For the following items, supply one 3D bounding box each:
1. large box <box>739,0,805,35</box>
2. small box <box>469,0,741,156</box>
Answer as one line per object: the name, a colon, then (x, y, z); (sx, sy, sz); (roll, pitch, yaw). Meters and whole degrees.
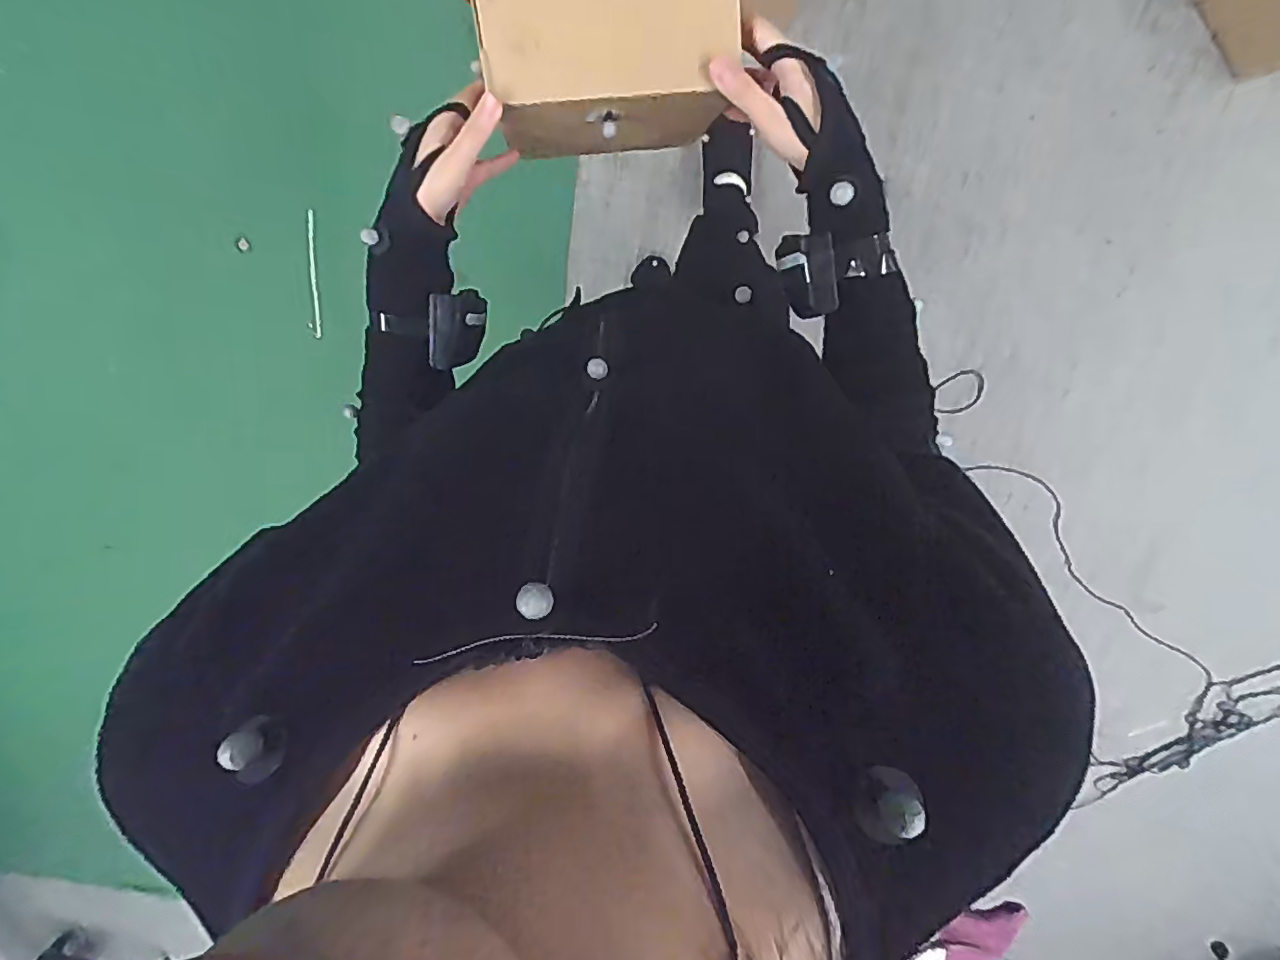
large box: (0.092, -0.993, 0.940); (0.408, 0.320, 0.320); (-1, 115, 6)
small box: (-0.032, -0.362, 0.412); (0.179, 0.176, 0.168); (-7, 110, -5)
